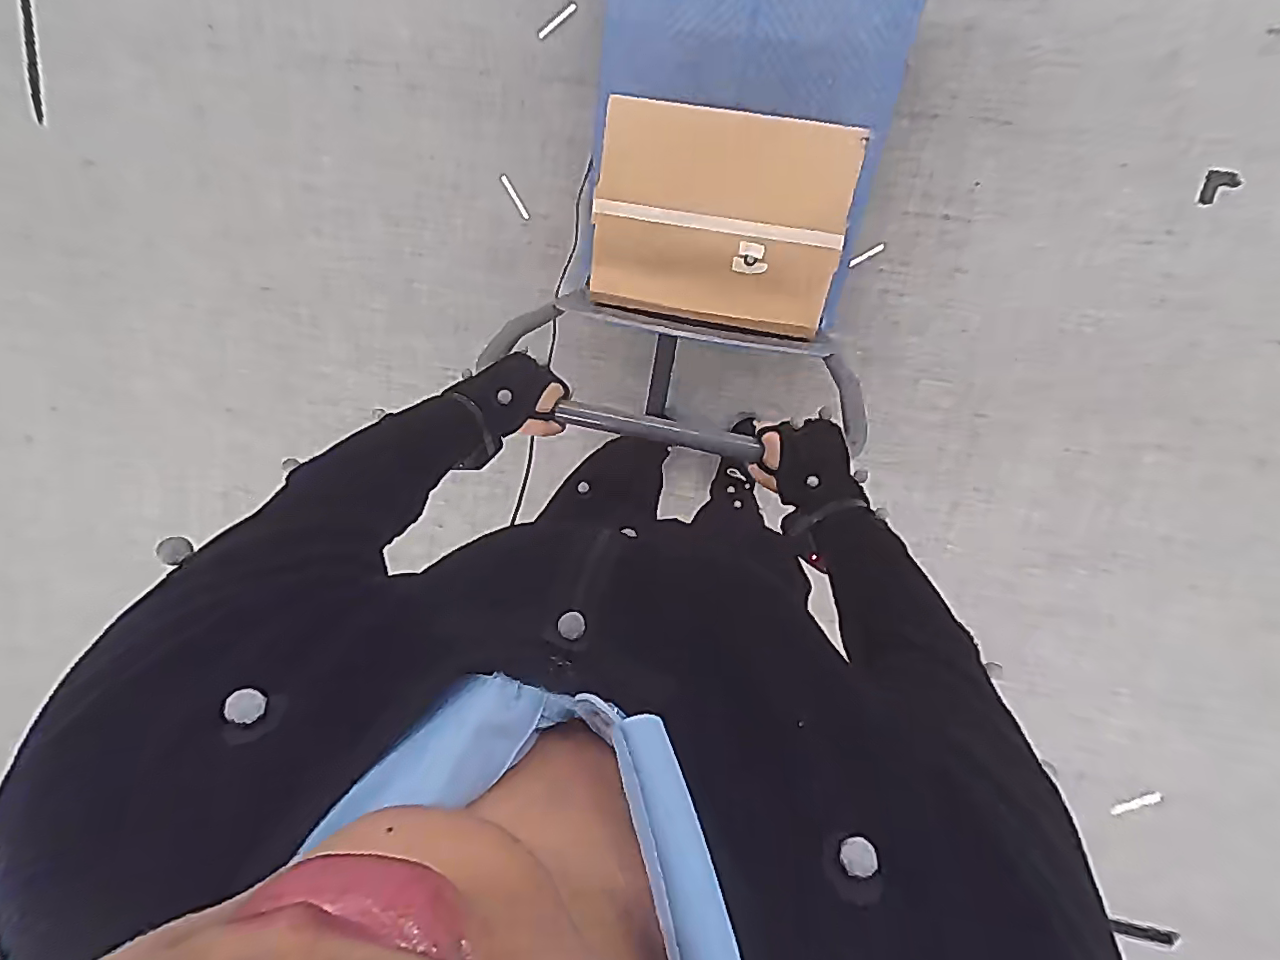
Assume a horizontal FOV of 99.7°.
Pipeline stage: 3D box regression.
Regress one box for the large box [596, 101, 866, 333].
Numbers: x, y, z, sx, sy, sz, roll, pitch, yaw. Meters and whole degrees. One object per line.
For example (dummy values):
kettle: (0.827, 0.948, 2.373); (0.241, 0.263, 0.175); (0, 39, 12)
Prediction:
large box: (0.153, -0.484, 1.034); (0.408, 0.320, 0.320); (11, 115, 5)
